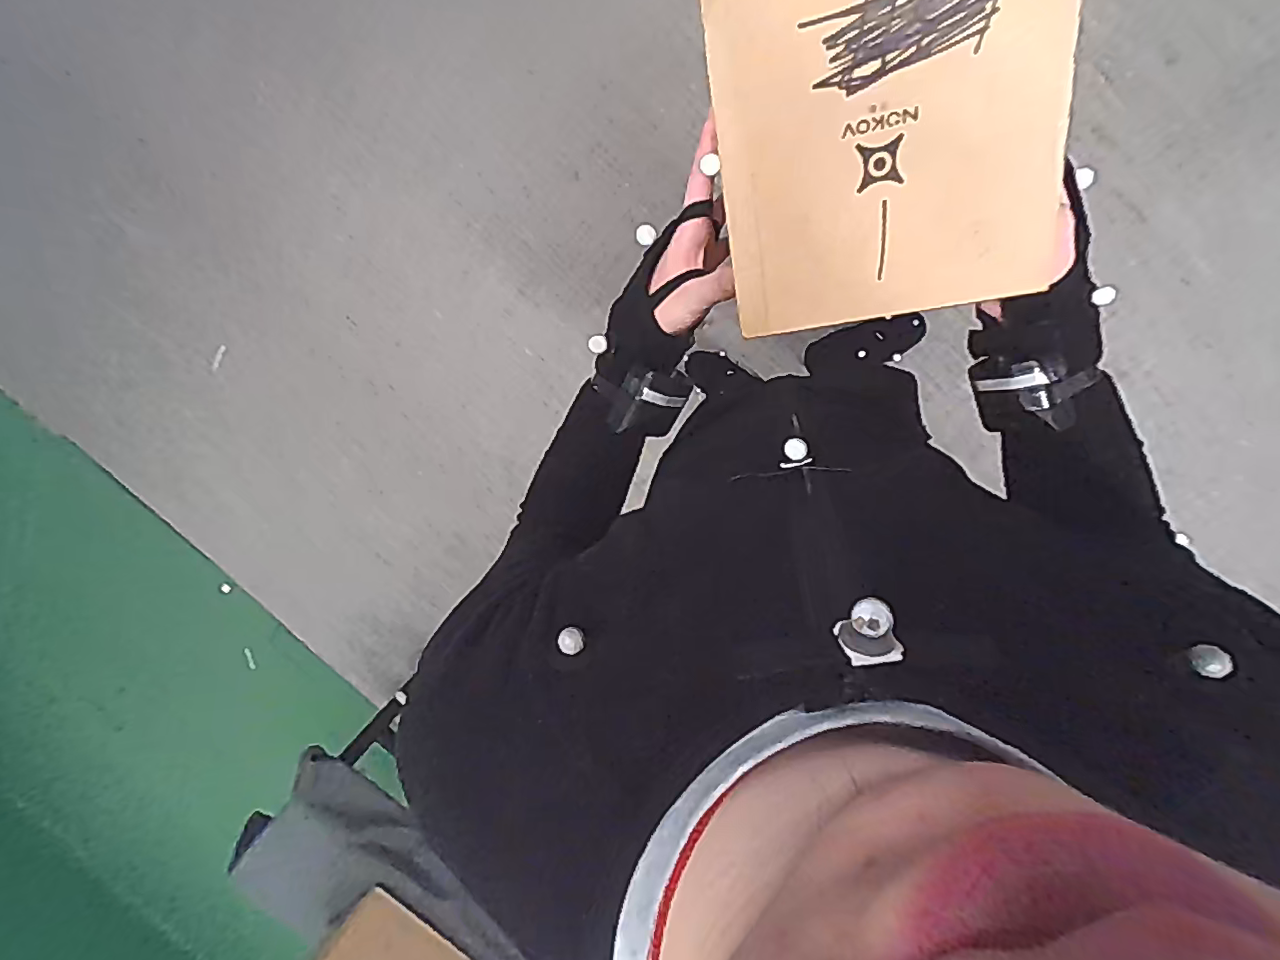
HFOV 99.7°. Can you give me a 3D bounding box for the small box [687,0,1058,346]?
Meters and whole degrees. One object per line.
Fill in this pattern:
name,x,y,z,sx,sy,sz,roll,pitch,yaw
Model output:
small box,0.131,-0.201,0.348,0.168,0.176,0.179,-6,115,16
